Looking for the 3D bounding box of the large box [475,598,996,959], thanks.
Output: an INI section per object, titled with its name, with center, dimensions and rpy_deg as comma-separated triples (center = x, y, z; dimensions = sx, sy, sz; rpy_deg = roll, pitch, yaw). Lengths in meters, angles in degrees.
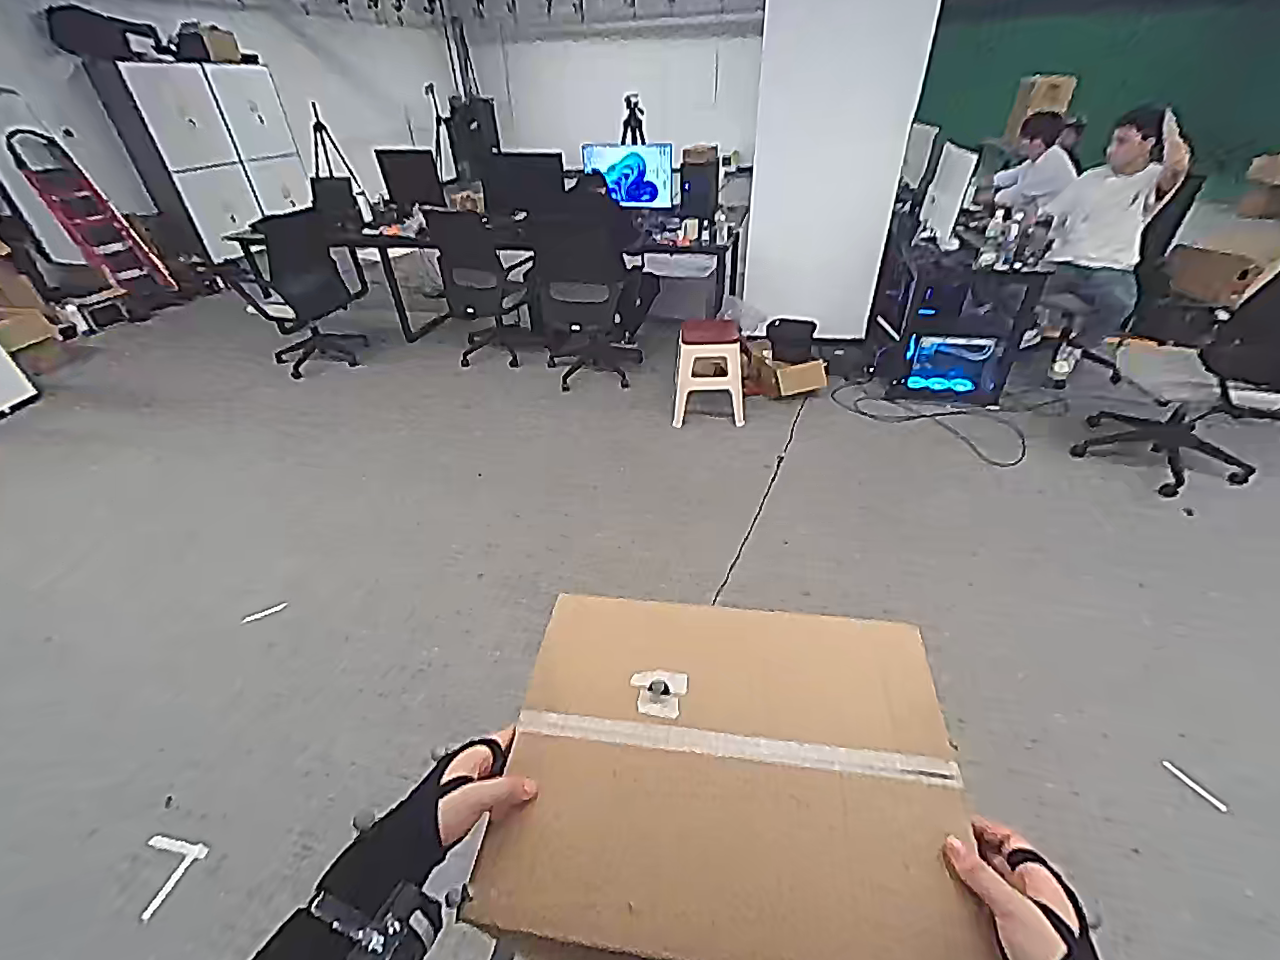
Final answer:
[large box]
center = 0.096, 0.359, 0.616
dimensions = 0.408, 0.320, 0.320
rpy_deg = 2, 42, 10
